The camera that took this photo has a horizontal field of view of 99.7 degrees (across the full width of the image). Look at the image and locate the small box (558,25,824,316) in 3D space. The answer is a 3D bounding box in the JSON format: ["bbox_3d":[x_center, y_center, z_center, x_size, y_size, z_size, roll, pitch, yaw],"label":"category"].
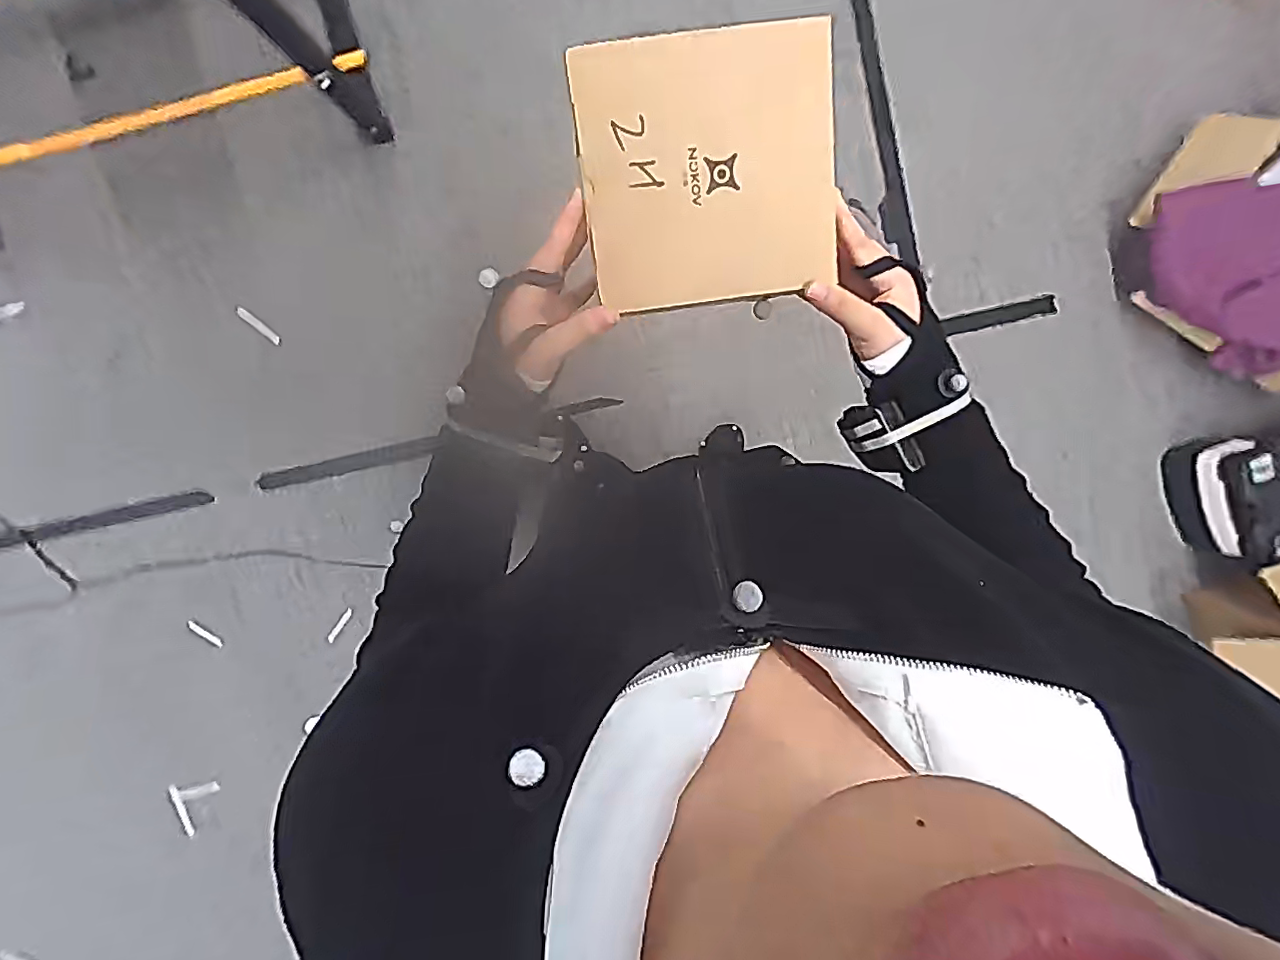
[{"bbox_3d":[0.035,-0.232,0.449,0.179,0.176,0.168,-8,106,-1],"label":"small box"}]
